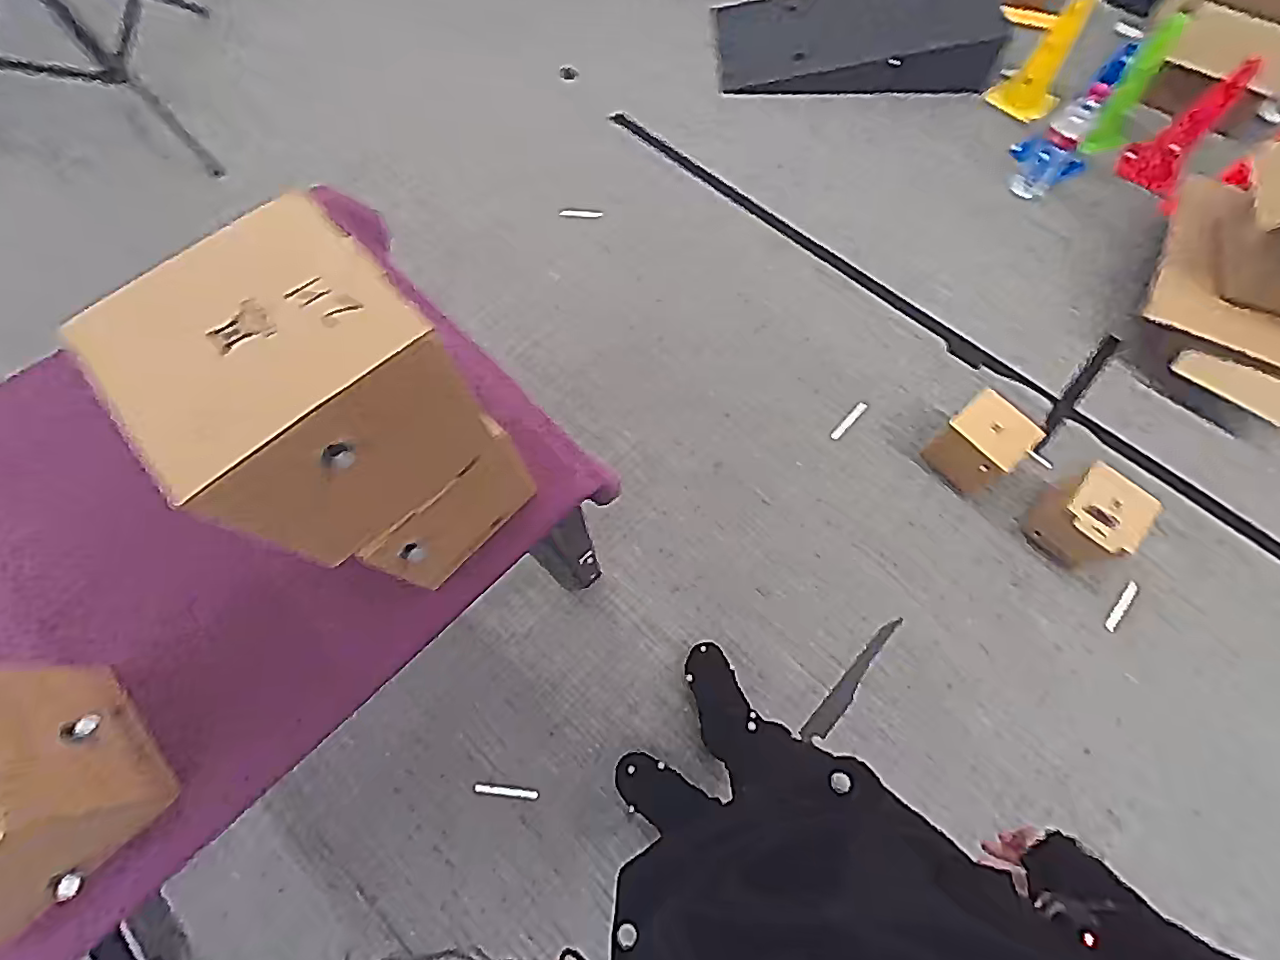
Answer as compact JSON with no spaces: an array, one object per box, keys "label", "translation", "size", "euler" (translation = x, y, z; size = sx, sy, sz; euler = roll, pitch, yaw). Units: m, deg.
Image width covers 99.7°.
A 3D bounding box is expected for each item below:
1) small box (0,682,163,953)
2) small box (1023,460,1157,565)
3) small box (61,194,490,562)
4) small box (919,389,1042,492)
[{"label":"small box","translation":[-0.559,0.286,0.449],"size":[0.168,0.176,0.179],"euler":[43,74,13]},{"label":"small box","translation":[1.106,0.089,1.346],"size":[0.168,0.176,0.179],"euler":[41,73,12]},{"label":"small box","translation":[-0.244,-0.062,0.411],"size":[0.179,0.176,0.168],"euler":[-41,75,-14]},{"label":"small box","translation":[0.875,-0.097,1.411],"size":[0.168,0.176,0.179],"euler":[-39,75,-15]}]
